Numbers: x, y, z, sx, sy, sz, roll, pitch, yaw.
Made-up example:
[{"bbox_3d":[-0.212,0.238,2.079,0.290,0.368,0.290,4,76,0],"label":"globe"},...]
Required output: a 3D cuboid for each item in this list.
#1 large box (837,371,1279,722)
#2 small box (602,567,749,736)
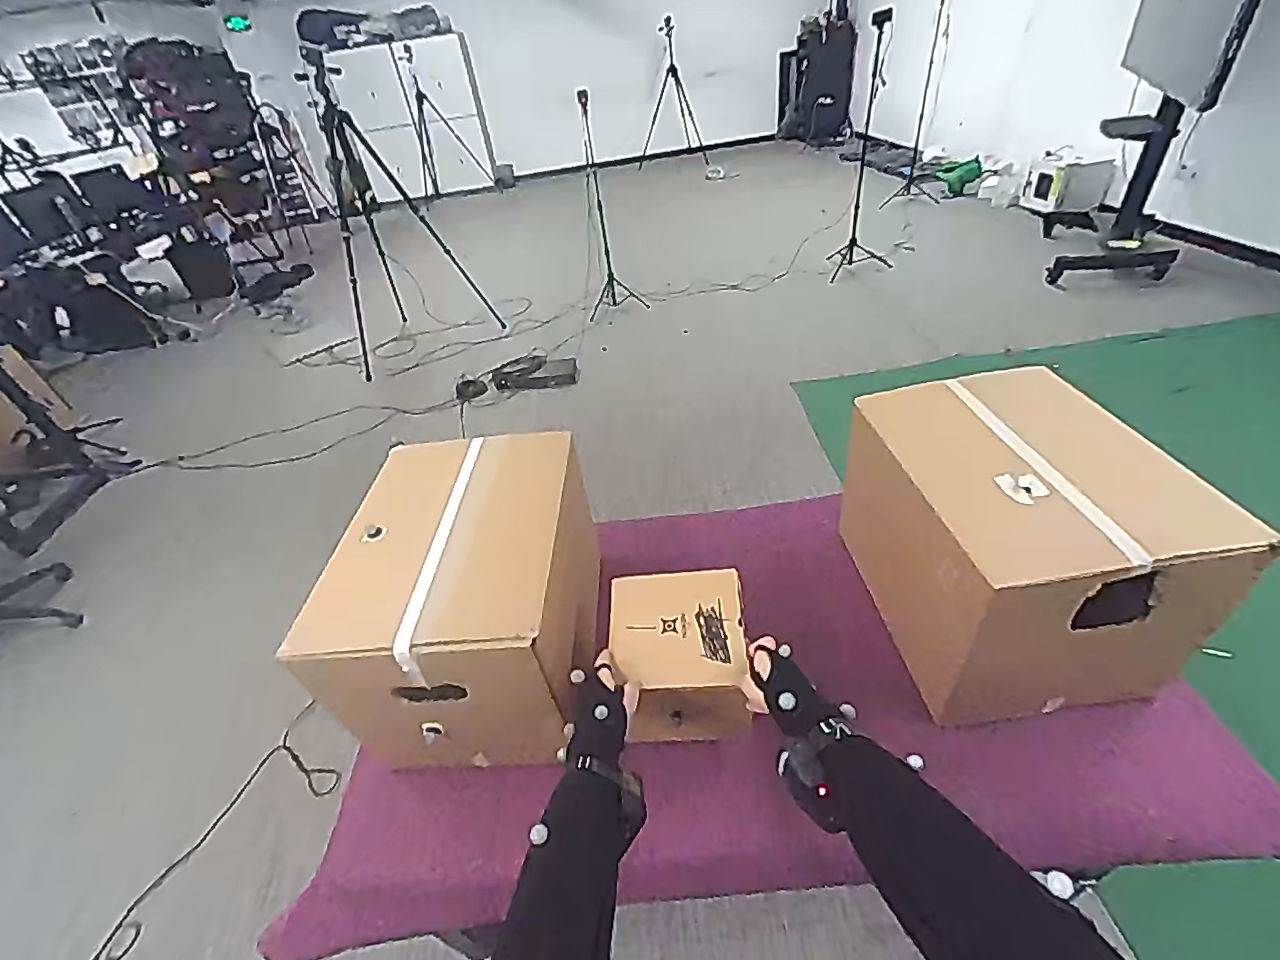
[{"bbox_3d":[0.532,0.085,0.818,0.320,0.320,0.408,-10,40,2],"label":"large box"},{"bbox_3d":[0.053,0.239,0.747,0.179,0.176,0.168,-5,44,7],"label":"small box"}]
